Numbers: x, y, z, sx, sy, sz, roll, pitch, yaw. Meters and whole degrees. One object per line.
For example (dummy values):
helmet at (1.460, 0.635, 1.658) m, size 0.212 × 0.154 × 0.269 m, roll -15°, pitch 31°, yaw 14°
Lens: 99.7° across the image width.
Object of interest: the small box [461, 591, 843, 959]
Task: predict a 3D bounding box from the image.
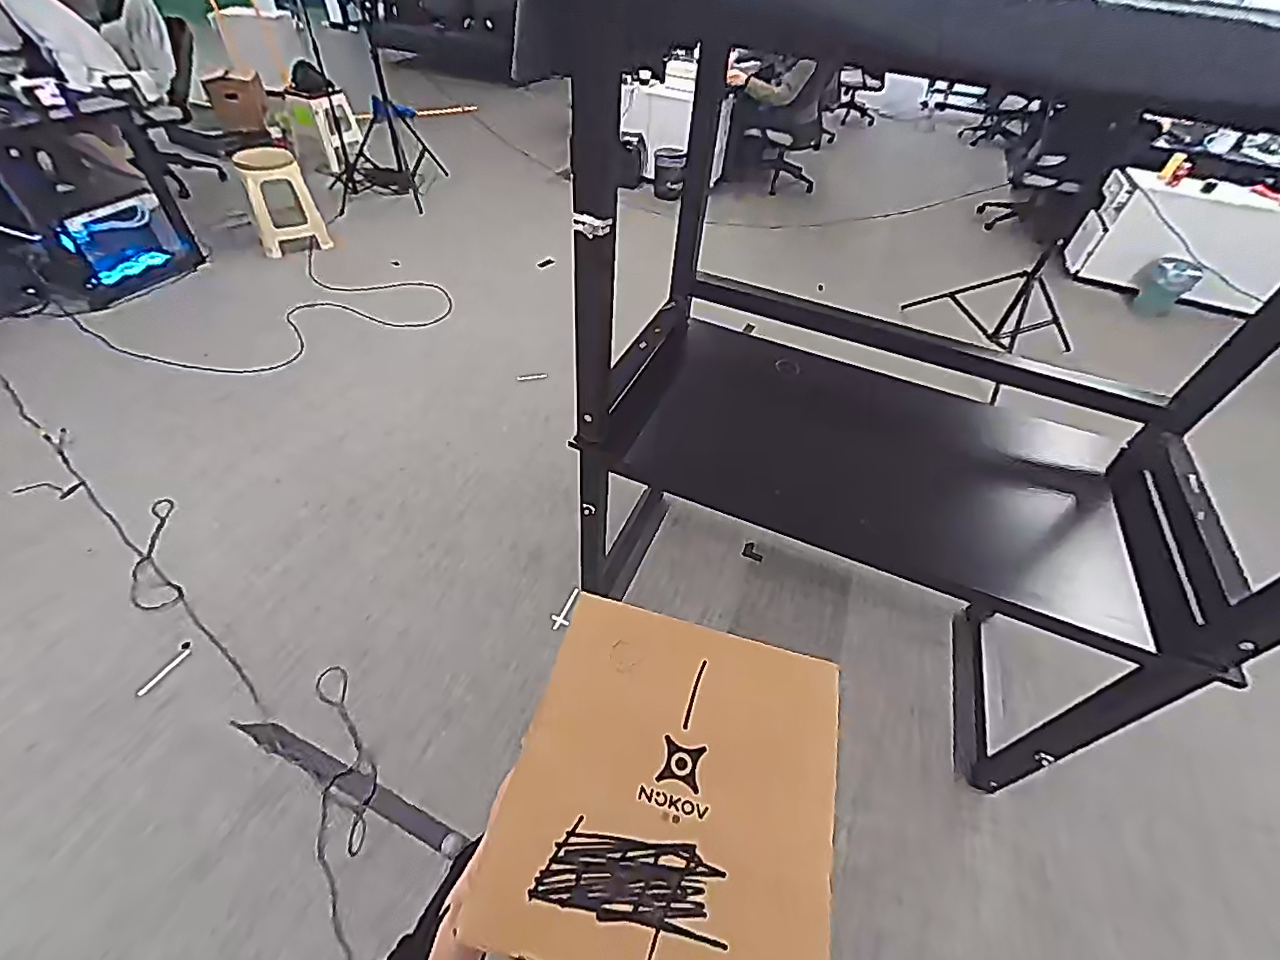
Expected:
small box at (0.015, 0.204, 0.344) m, size 0.168 × 0.176 × 0.179 m, roll 15°, pitch 52°, yaw 6°
